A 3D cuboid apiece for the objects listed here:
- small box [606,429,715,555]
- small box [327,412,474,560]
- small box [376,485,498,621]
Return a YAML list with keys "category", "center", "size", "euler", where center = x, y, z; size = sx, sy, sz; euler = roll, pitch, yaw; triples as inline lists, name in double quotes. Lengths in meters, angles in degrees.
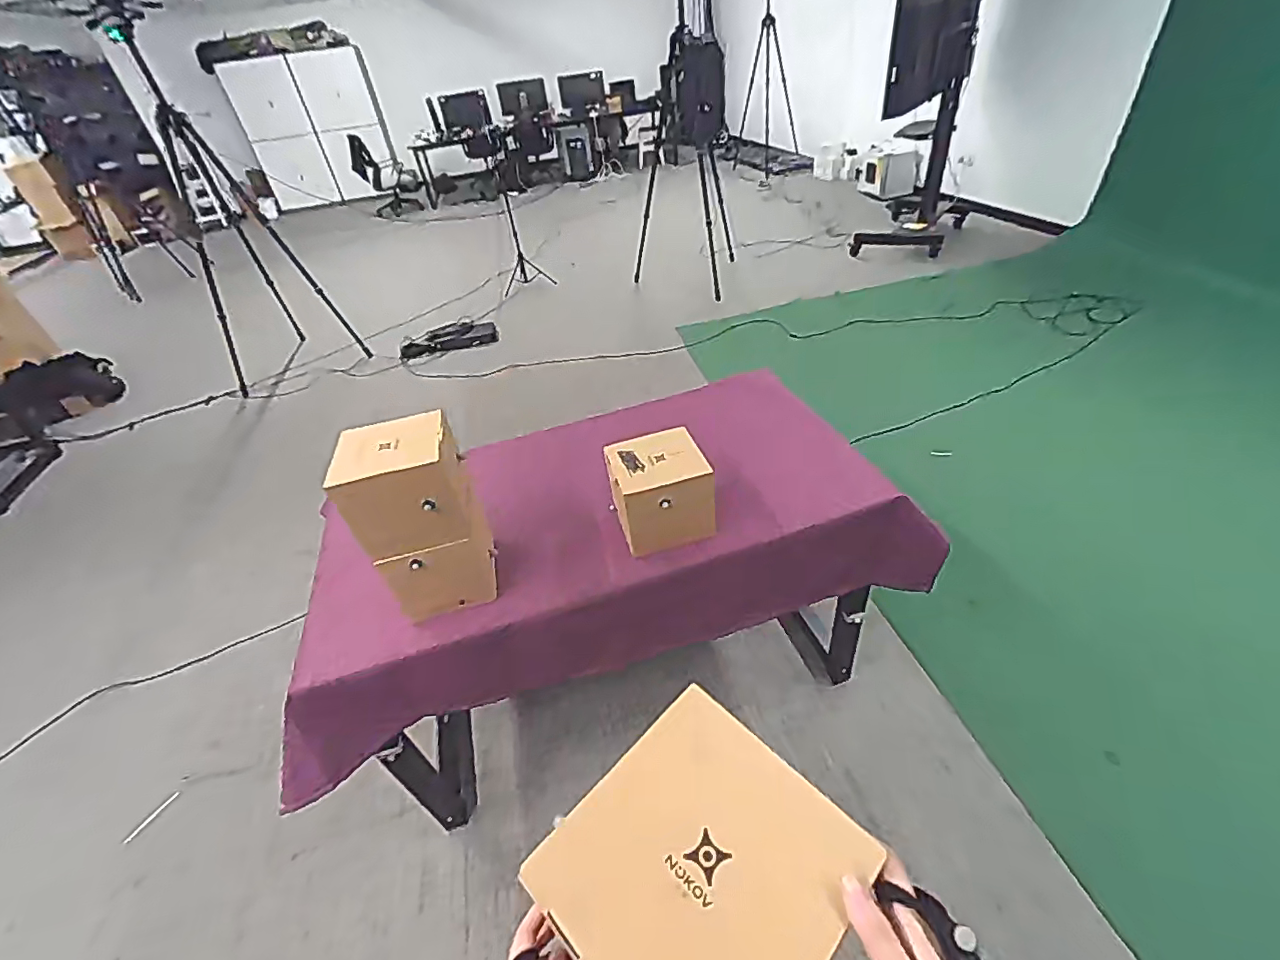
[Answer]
- category: "small box"
  center: [0.043, 0.026, 1.087]
  size: [0.179, 0.176, 0.168]
  euler: [-15, 40, -8]
- category: "small box"
  center: [-0.394, 0.010, 0.928]
  size: [0.179, 0.176, 0.168]
  euler: [-14, 39, -6]
- category: "small box"
  center: [-0.375, 0.136, 1.031]
  size: [0.168, 0.176, 0.179]
  euler: [-15, 39, -7]
